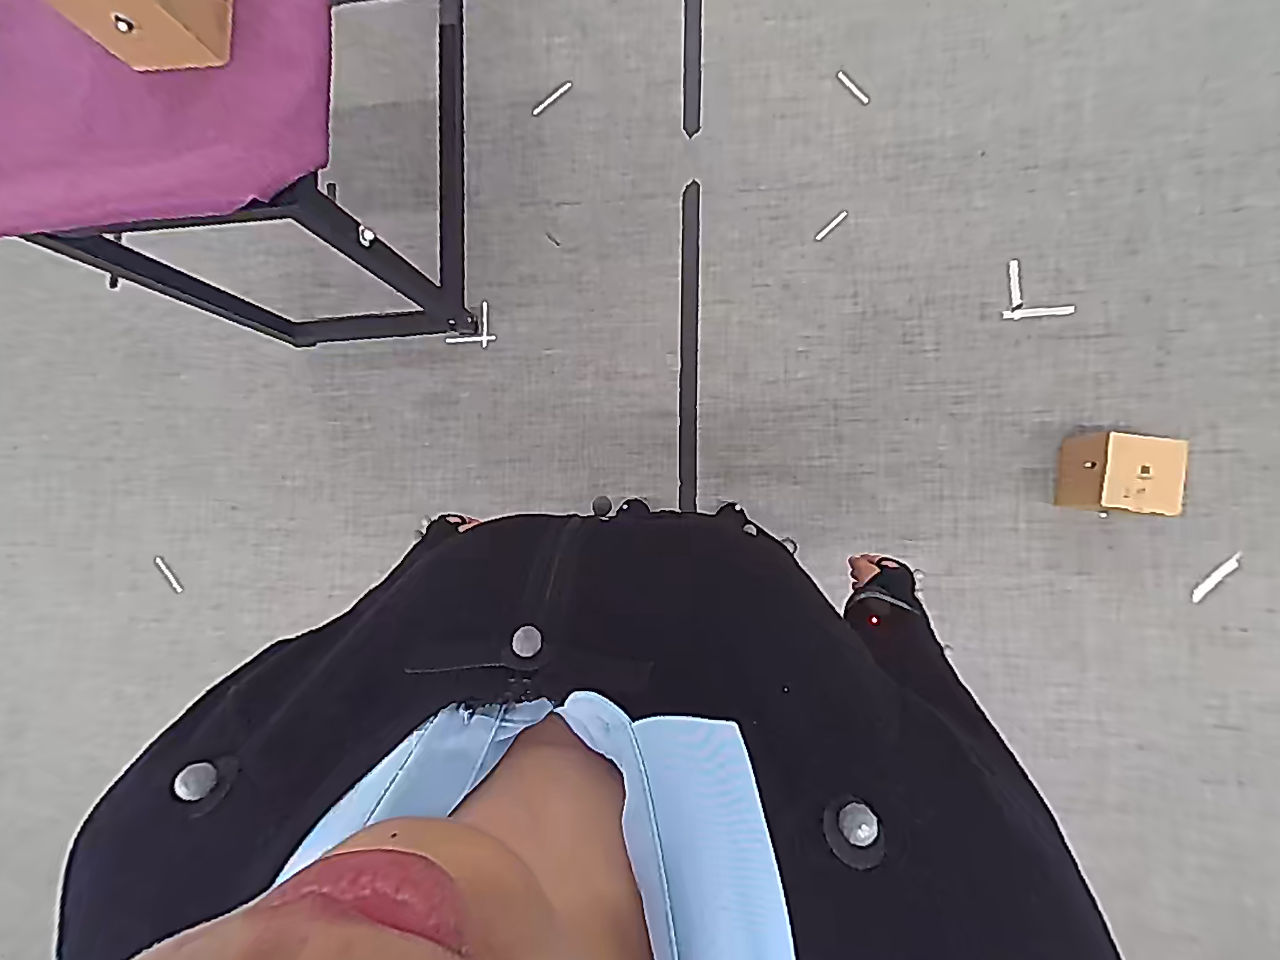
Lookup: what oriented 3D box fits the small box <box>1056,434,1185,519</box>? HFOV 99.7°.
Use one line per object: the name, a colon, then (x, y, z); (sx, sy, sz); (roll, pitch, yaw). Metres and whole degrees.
small box: (1.152, -0.005, 1.309); (0.168, 0.176, 0.179); (9, 88, 7)
